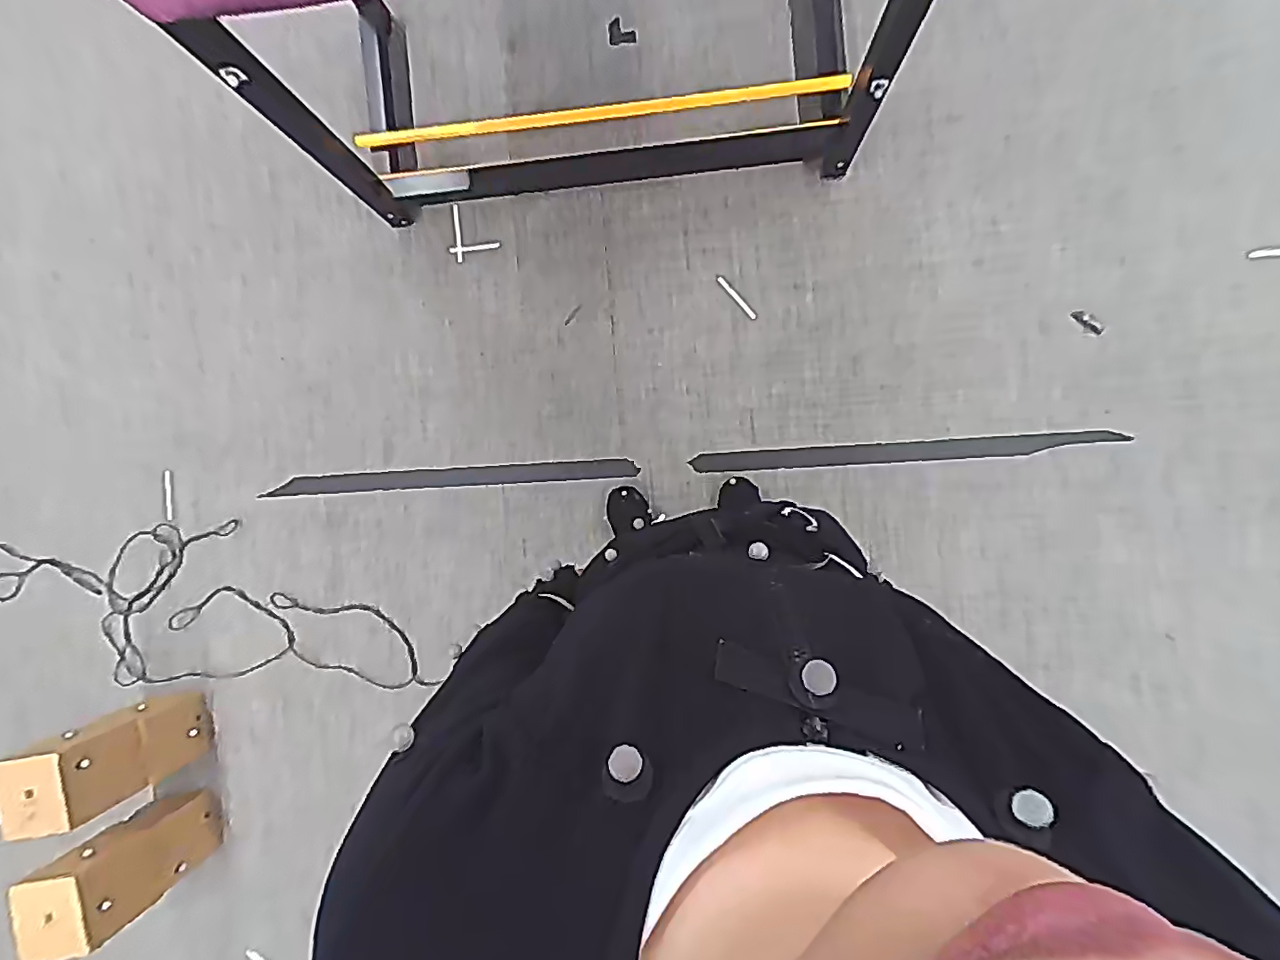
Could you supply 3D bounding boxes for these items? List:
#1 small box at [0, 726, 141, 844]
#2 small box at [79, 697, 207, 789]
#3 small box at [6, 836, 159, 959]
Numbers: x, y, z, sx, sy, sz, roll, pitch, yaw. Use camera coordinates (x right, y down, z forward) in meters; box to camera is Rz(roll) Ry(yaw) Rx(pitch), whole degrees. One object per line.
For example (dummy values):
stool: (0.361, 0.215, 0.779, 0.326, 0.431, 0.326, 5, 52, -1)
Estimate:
small box: (-1.304, 0.684, 1.236, 0.168, 0.176, 0.179, -10, 90, 5)
small box: (-1.281, 0.681, 1.400, 0.179, 0.176, 0.168, -8, 90, 4)
small box: (-1.265, 0.950, 1.238, 0.168, 0.176, 0.179, -12, 90, 5)
